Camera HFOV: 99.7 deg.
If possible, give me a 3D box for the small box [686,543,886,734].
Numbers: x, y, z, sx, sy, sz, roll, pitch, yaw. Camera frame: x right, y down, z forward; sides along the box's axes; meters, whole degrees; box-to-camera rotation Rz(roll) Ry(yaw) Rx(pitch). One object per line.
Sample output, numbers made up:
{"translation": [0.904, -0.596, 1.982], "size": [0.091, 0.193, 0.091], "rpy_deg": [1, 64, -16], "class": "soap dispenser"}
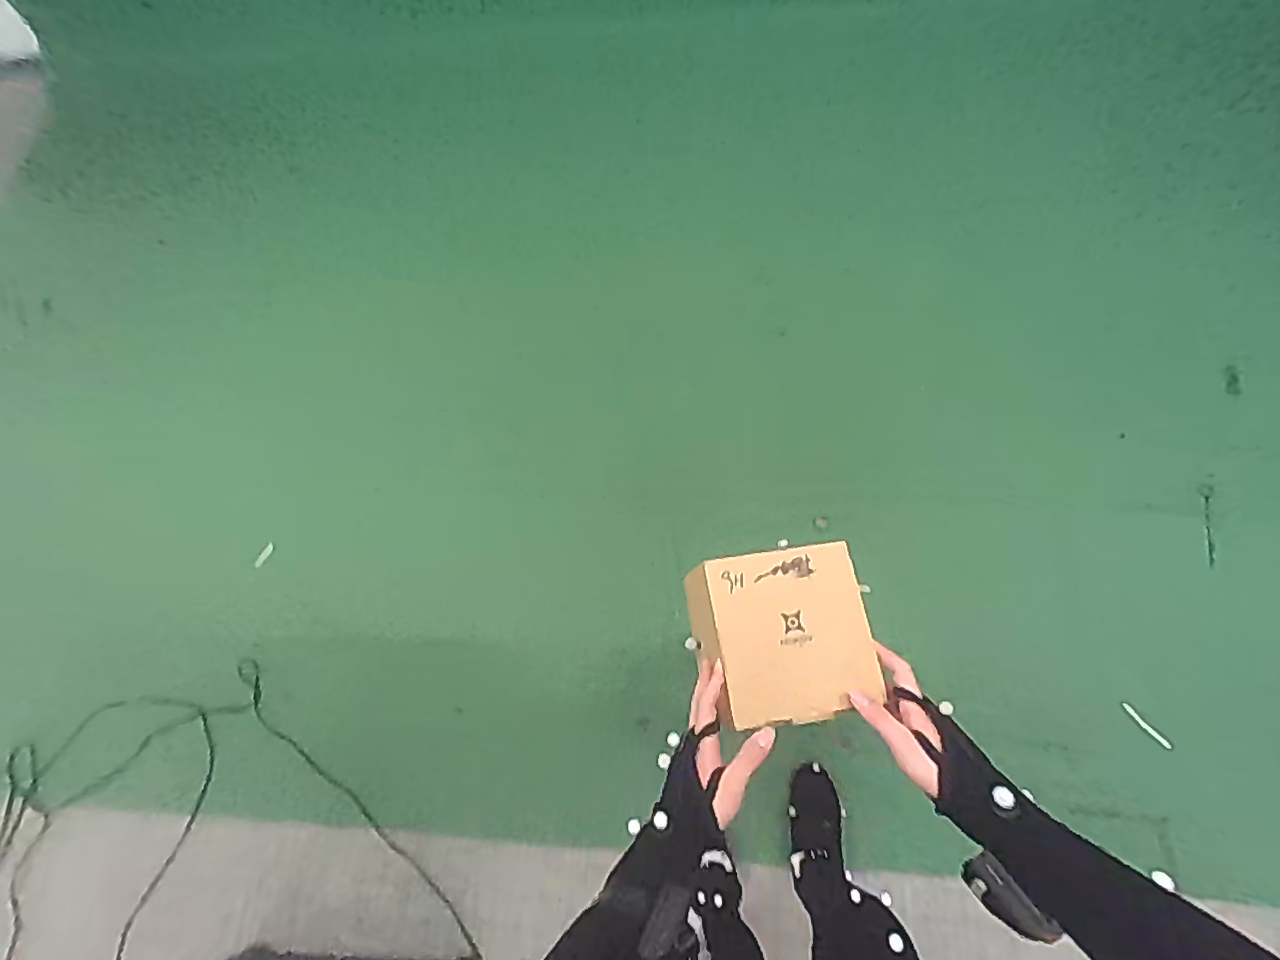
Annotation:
{"translation": [0.156, 0.181, 0.641], "size": [0.168, 0.176, 0.179], "rpy_deg": [-7, 75, -5], "class": "small box"}
